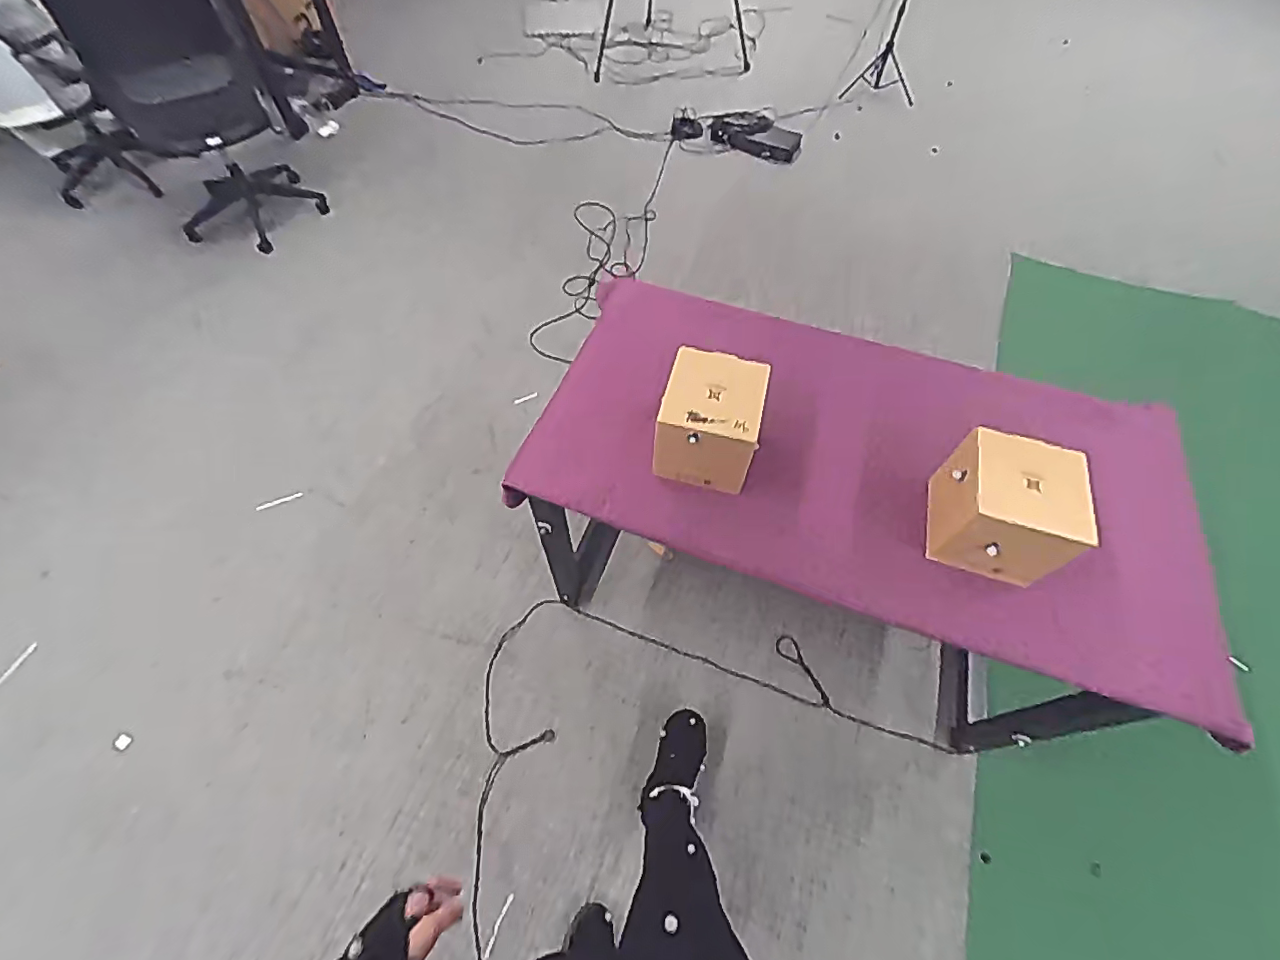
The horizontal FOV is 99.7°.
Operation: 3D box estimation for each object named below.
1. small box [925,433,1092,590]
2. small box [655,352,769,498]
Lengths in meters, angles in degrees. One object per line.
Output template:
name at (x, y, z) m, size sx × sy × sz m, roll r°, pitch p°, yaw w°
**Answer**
small box at (0.589, 0.056, 0.886) m, size 0.168 × 0.176 × 0.179 m, roll 16°, pitch 57°, yaw 10°
small box at (0.124, -0.096, 0.974) m, size 0.168 × 0.176 × 0.179 m, roll 13°, pitch 58°, yaw 8°
